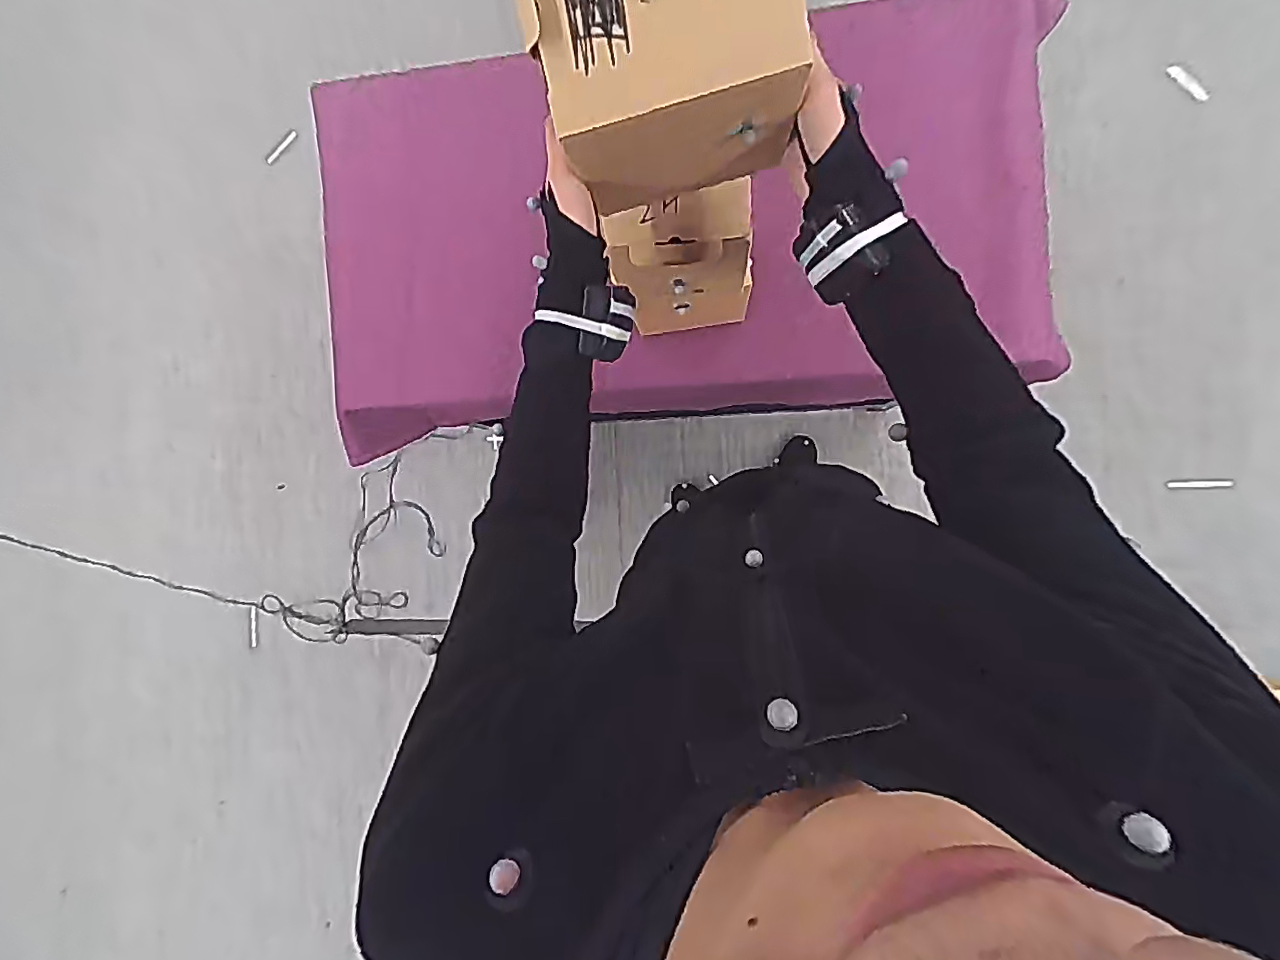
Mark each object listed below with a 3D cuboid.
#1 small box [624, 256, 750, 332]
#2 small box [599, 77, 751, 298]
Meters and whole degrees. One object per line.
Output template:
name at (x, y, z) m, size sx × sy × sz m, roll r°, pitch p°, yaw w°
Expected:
small box at (0.067, -0.336, 0.824) m, size 0.179 × 0.176 × 0.168 m, roll -7°, pitch 89°, yaw 7°
small box at (0.046, -0.340, 0.661) m, size 0.168 × 0.176 × 0.179 m, roll -1°, pitch 90°, yaw 8°
